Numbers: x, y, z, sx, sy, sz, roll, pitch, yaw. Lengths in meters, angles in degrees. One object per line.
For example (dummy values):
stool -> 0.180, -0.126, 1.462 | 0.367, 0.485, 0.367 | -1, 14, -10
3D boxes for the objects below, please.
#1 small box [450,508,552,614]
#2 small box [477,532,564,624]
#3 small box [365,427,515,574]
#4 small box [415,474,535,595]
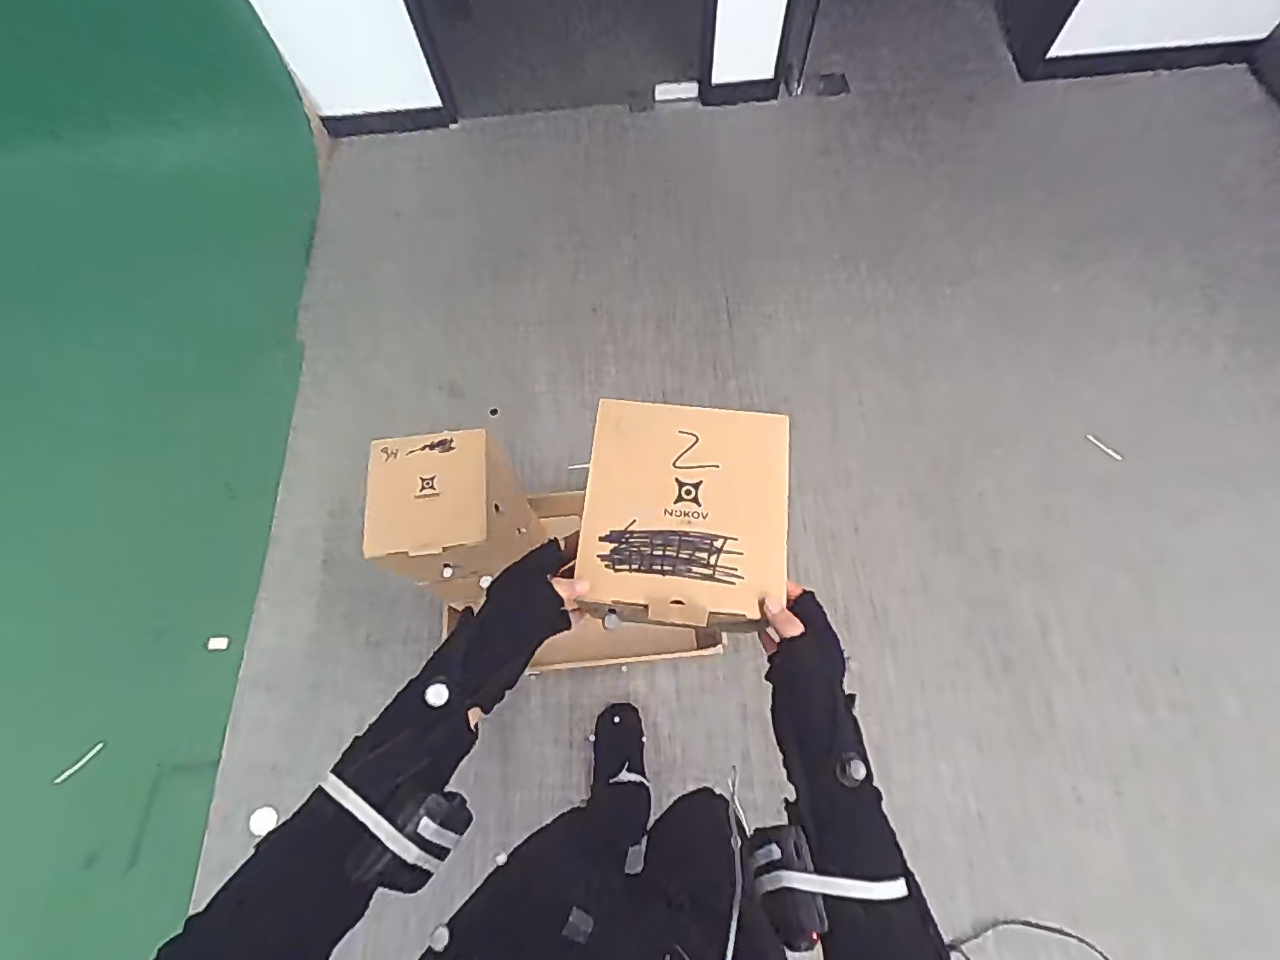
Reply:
small box -> -0.278, 0.170, 1.112 | 0.168, 0.176, 0.179 | -5, 68, -1
small box -> -0.273, 0.232, 1.263 | 0.168, 0.176, 0.179 | -4, 68, 1
small box -> -0.287, 0.040, 0.812 | 0.168, 0.176, 0.179 | -6, 69, -2
small box -> -0.284, 0.104, 0.963 | 0.168, 0.176, 0.179 | -6, 68, -2
